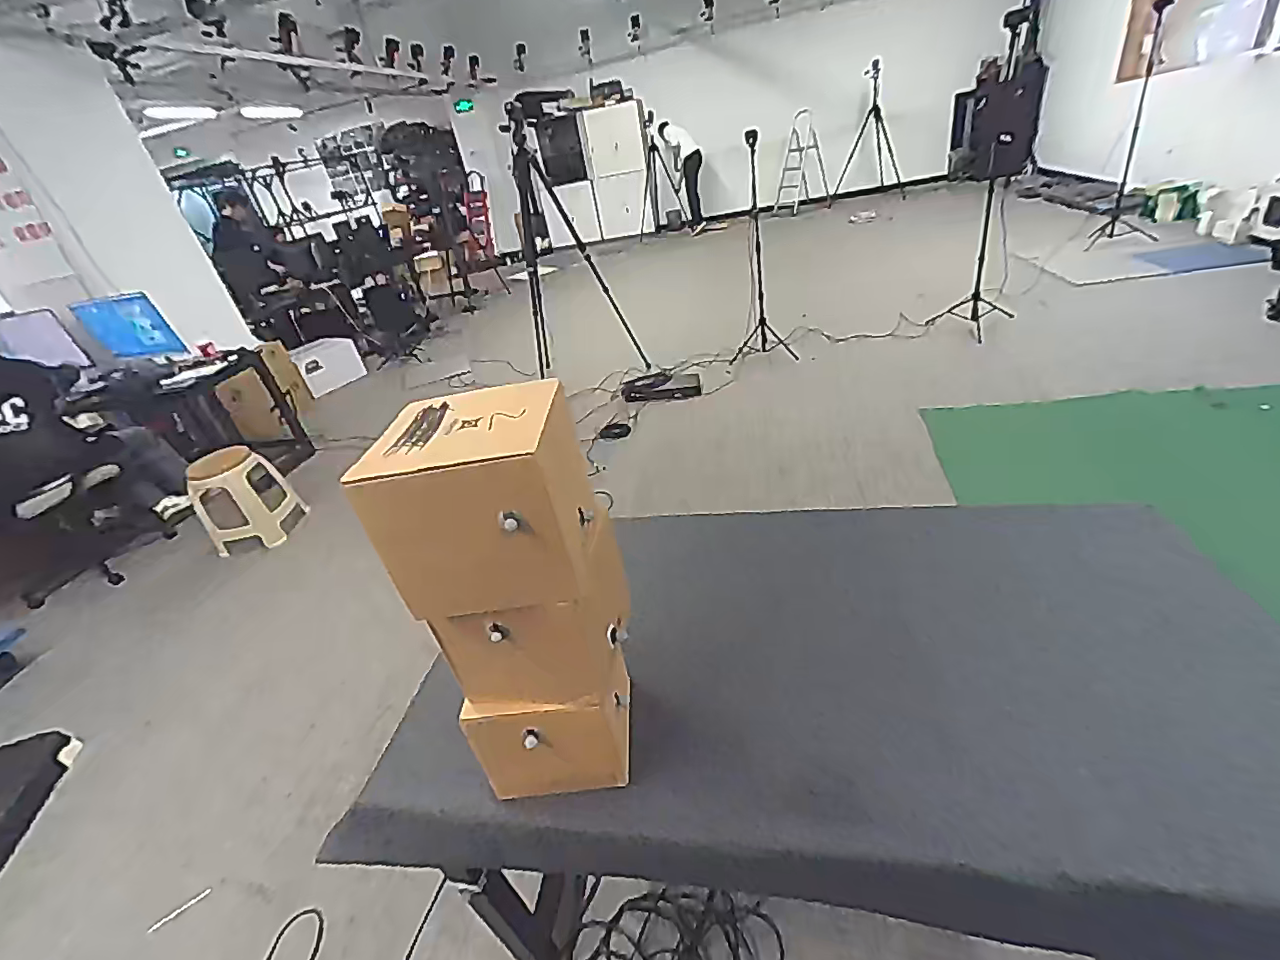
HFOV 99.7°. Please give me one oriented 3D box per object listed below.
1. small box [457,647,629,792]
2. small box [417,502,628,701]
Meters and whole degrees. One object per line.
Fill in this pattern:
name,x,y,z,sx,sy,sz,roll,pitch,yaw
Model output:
small box,-0.112,0.289,0.724,0.179,0.176,0.168,-9,31,5
small box,-0.124,0.144,0.649,0.179,0.176,0.168,-3,33,12
